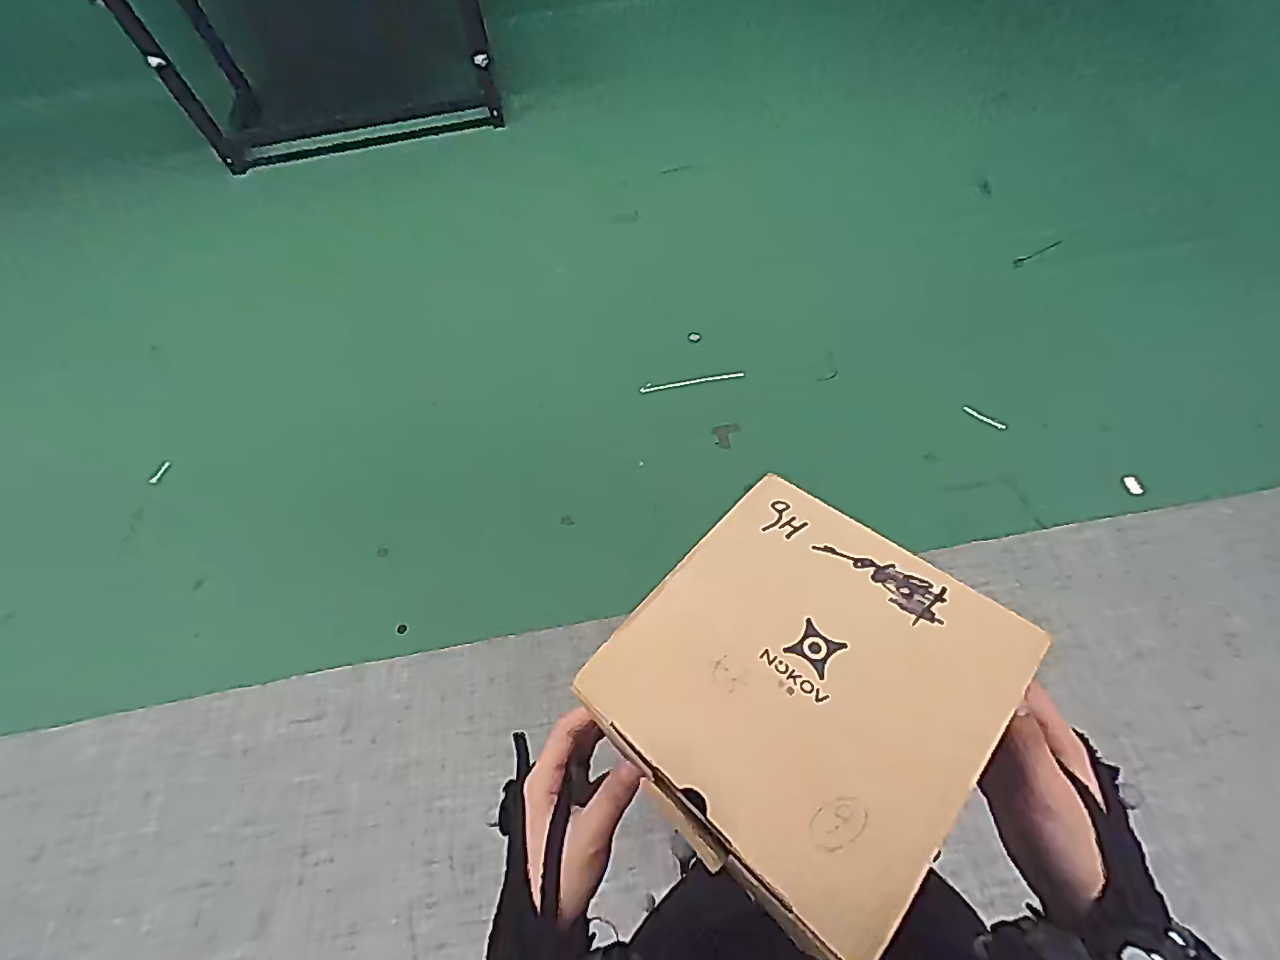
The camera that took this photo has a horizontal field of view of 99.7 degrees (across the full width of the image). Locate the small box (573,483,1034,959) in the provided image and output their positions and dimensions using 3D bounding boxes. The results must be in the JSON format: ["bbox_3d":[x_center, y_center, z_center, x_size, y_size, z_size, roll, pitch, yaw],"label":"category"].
[{"bbox_3d":[0.090,0.143,0.337,0.168,0.176,0.179,35,66,29],"label":"small box"}]
